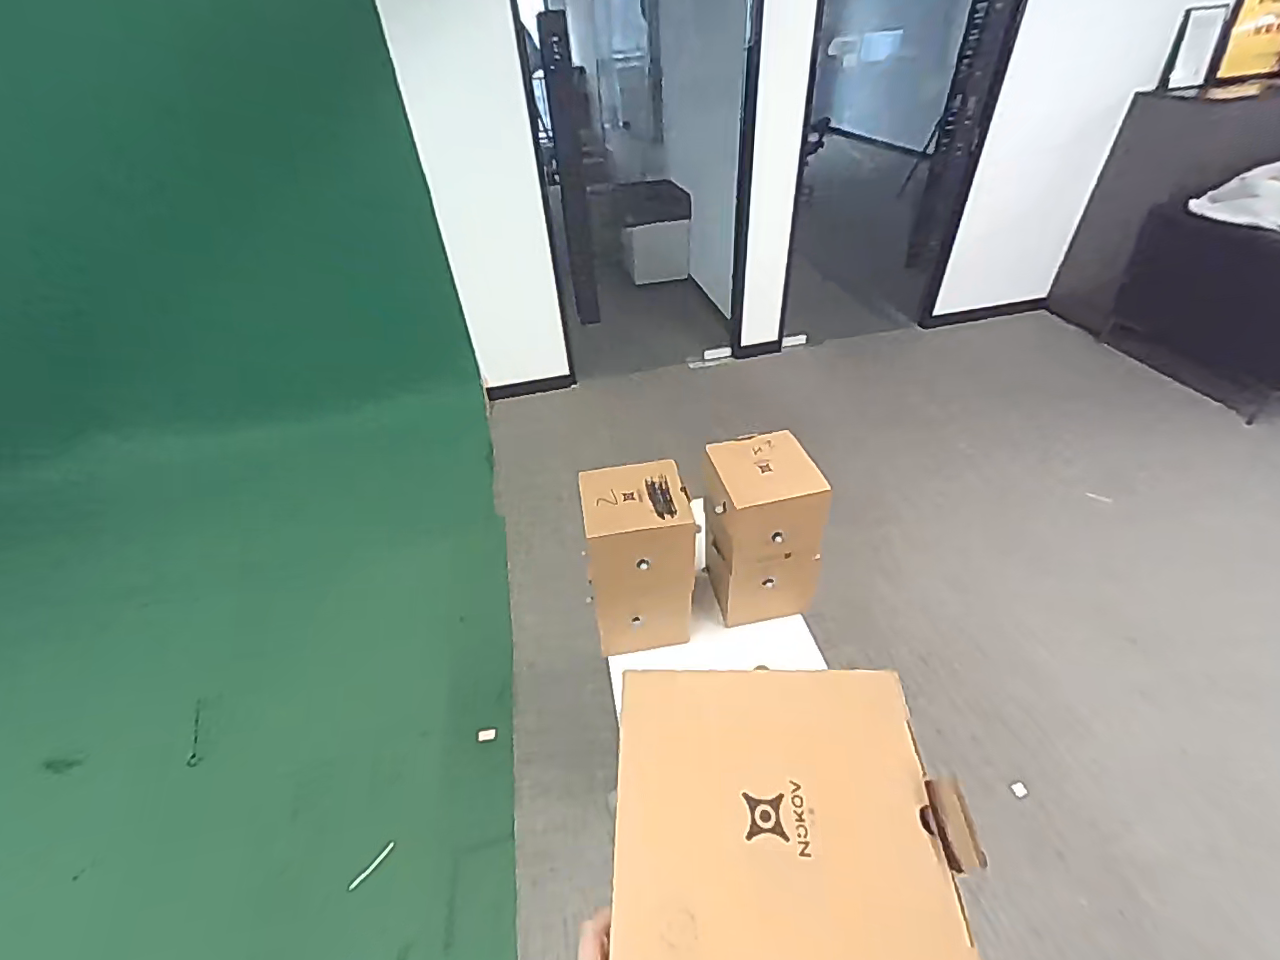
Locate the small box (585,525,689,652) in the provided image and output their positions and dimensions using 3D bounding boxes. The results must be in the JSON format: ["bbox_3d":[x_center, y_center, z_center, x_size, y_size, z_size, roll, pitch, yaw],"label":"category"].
[{"bbox_3d":[-0.006,0.215,1.056,0.179,0.176,0.168,-8,41,-6],"label":"small box"}]

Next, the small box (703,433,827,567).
[{"bbox_3d":[0.218,0.042,0.988,0.168,0.176,0.179,-10,41,-7],"label":"small box"}]

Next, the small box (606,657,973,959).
[{"bbox_3d":[0.078,0.233,0.363,0.179,0.176,0.168,-1,48,3],"label":"small box"}]

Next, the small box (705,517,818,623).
[{"bbox_3d":[0.235,0.168,1.092,0.179,0.176,0.168,-9,41,-6],"label":"small box"}]
